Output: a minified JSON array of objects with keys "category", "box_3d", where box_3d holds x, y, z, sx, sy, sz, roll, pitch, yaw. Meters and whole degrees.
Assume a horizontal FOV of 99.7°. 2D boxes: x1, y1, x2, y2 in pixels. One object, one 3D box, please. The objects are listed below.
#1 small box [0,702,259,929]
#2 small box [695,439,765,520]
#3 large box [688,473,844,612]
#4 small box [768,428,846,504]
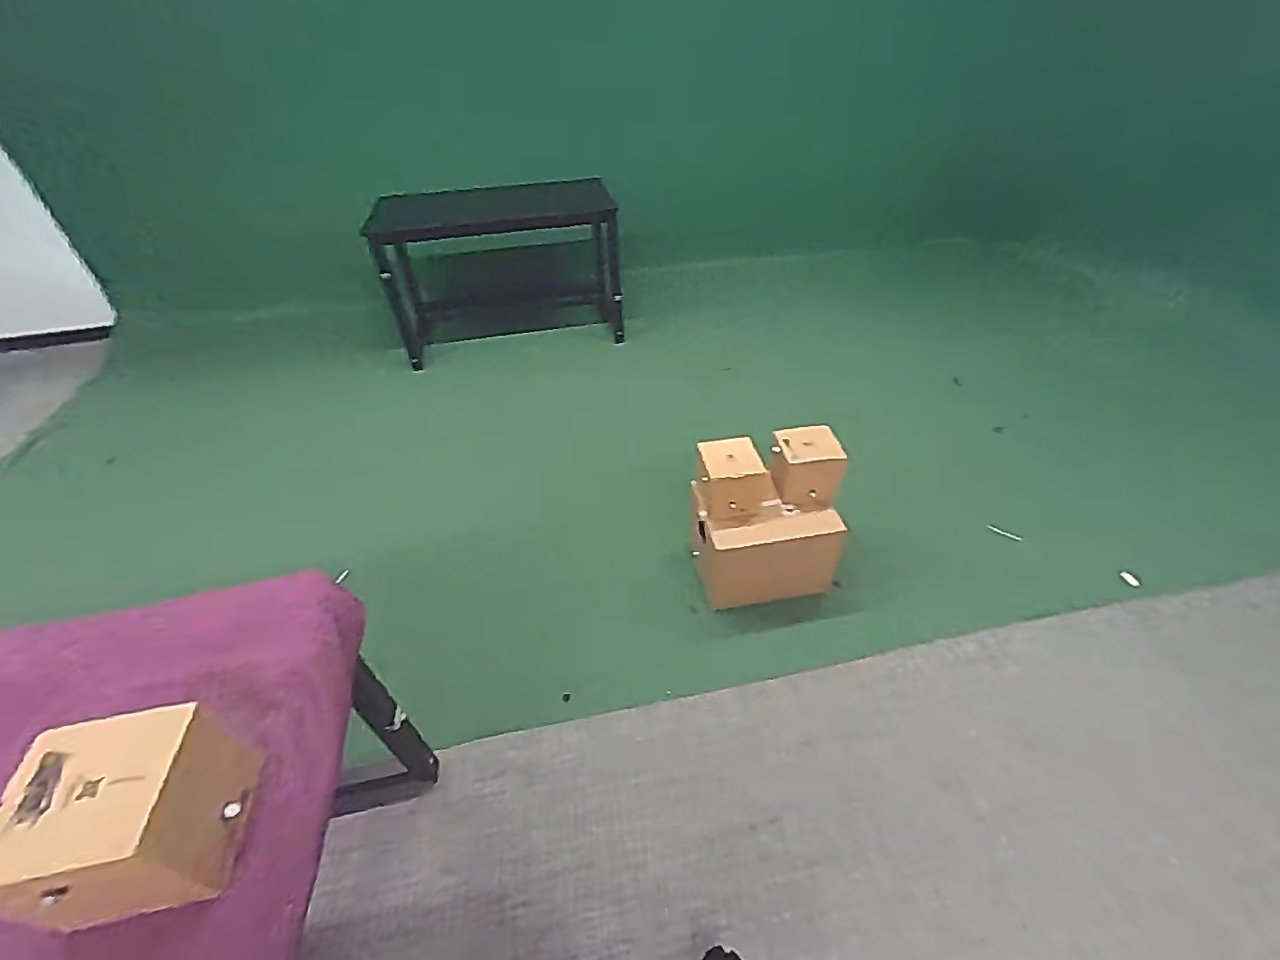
[{"category":"small box","box_3d":[-0.602,0.393,0.633,0.179,0.176,0.168,-9,42,-7]},{"category":"small box","box_3d":[0.269,-0.002,1.657,0.168,0.176,0.179,-8,42,-6]},{"category":"large box","box_3d":[0.391,0.197,1.791,0.408,0.320,0.320,-8,42,-7]},{"category":"small box","box_3d":[0.513,-0.043,1.685,0.179,0.176,0.168,-5,41,-2]}]
